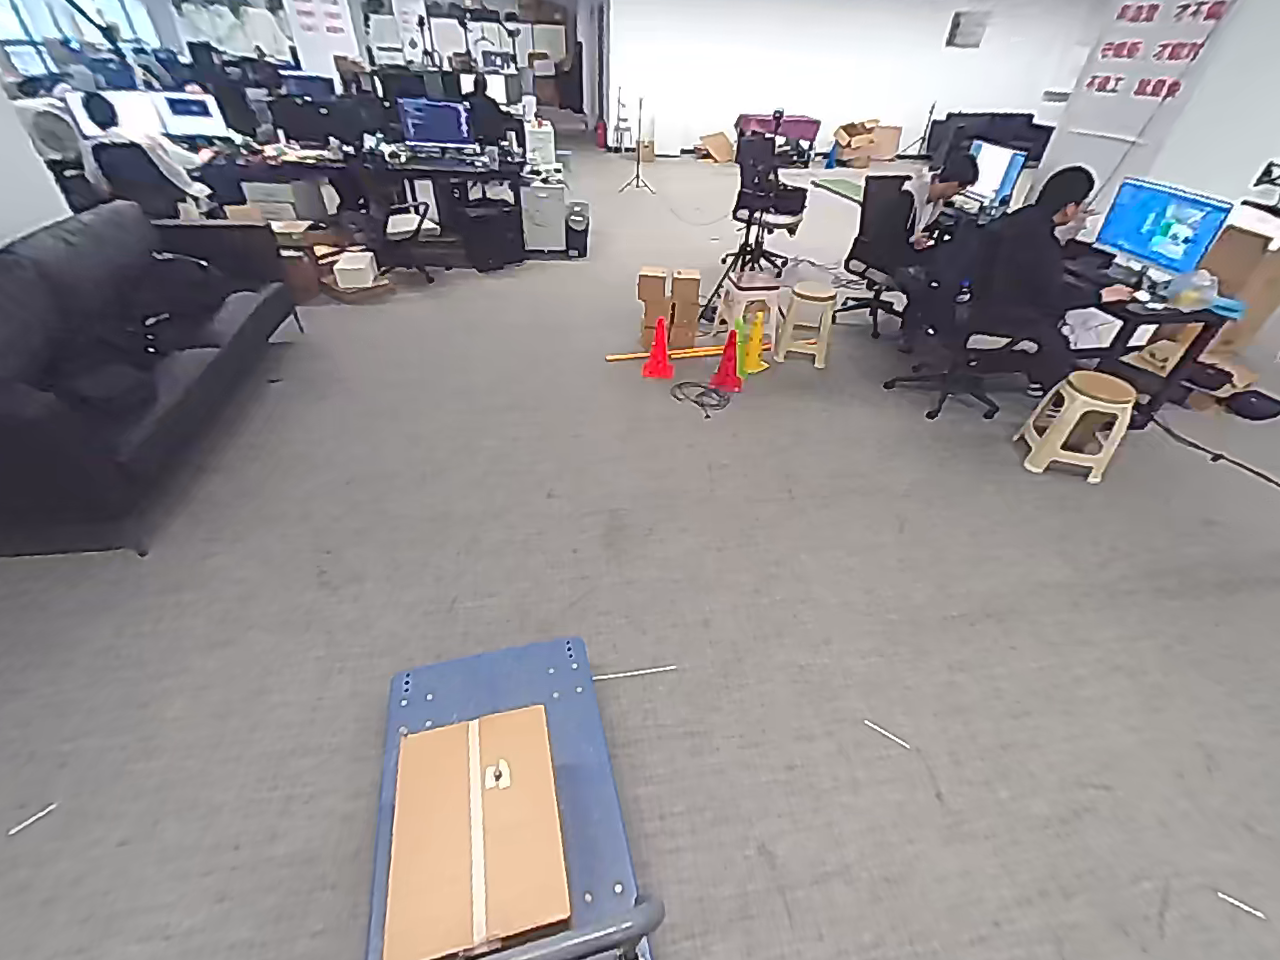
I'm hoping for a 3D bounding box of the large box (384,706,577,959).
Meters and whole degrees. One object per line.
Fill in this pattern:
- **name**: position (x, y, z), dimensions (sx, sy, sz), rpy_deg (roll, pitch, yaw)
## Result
- **large box**: position (-0.326, 0.777, 1.150), dimensions (0.320, 0.320, 0.408), rpy_deg (-8, 39, -13)
